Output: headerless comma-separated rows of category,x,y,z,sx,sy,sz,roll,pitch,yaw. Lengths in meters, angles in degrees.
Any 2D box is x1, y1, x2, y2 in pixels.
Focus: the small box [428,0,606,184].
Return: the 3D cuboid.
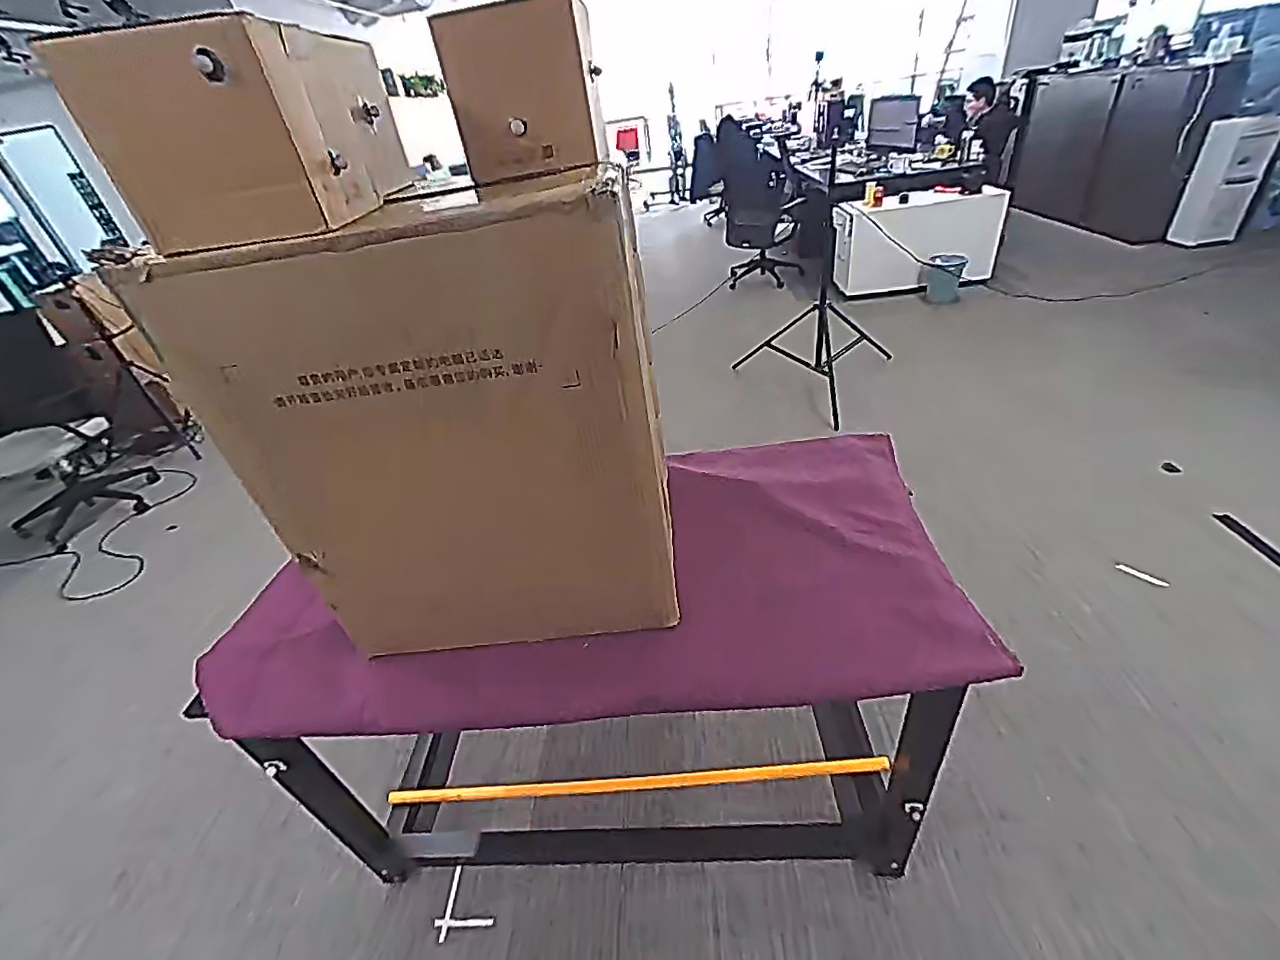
small box,-0.142,-0.495,0.703,0.168,0.176,0.179,-6,35,6
